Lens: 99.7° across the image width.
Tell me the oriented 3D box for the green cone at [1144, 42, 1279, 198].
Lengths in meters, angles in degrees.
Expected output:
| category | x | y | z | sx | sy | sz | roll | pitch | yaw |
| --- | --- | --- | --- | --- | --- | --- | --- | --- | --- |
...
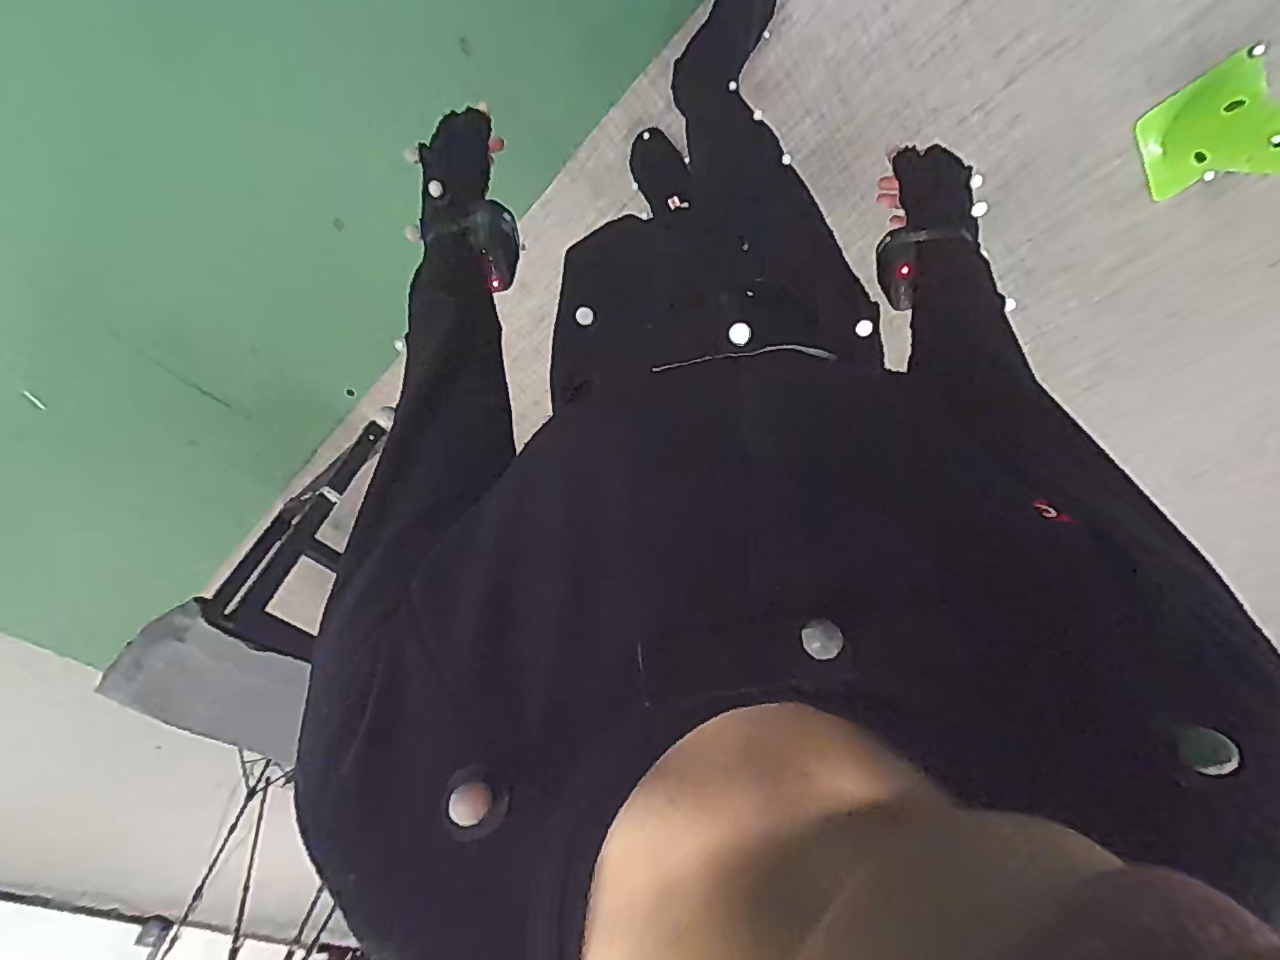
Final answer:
| category | x | y | z | sx | sy | sz | roll | pitch | yaw |
| --- | --- | --- | --- | --- | --- | --- | --- | --- | --- |
| green cone | 1.115 | -0.584 | 0.932 | 0.200 | 0.368 | 0.202 | -34 | 121 | 28 |
